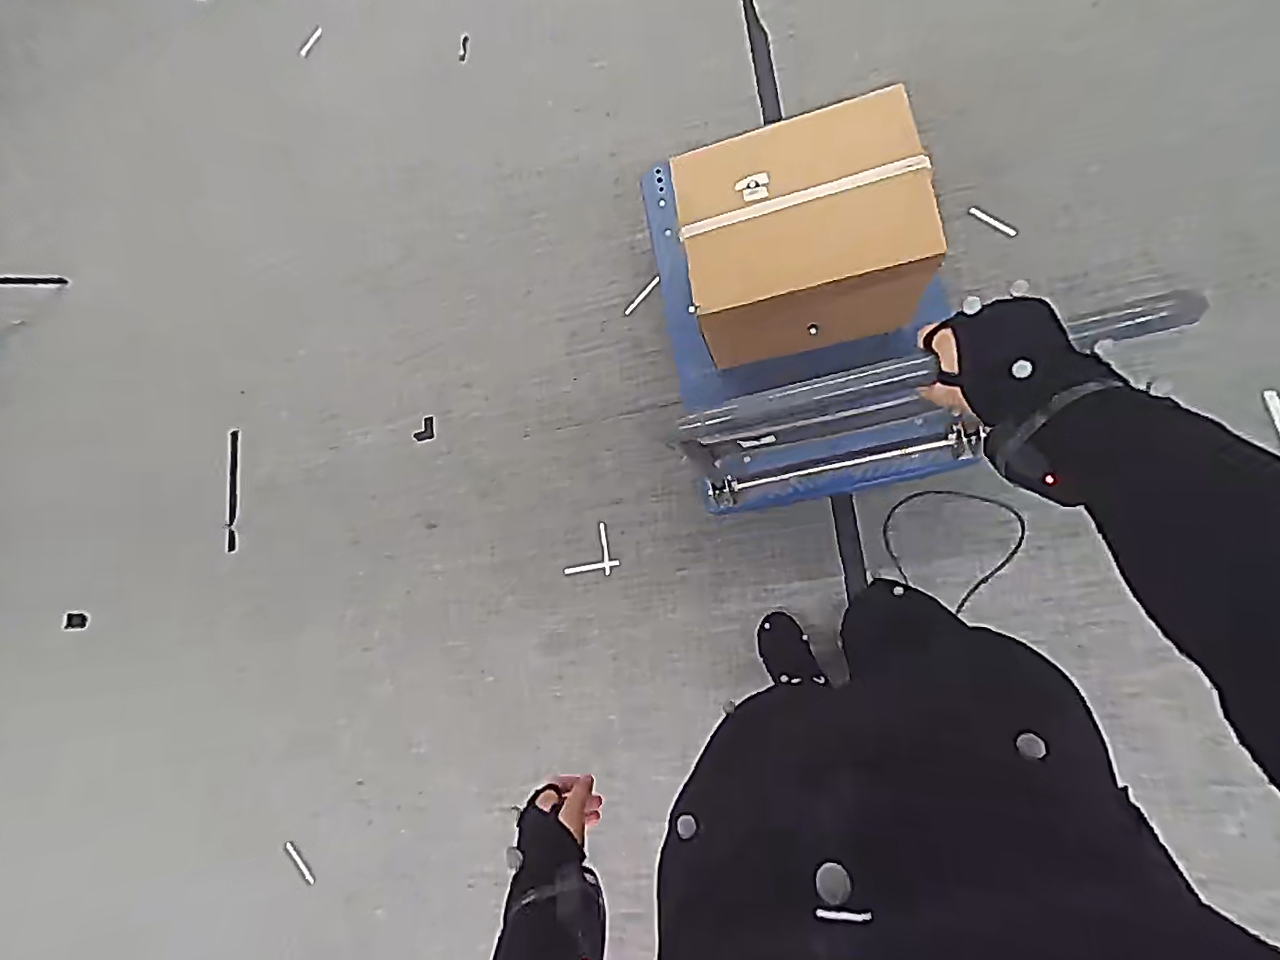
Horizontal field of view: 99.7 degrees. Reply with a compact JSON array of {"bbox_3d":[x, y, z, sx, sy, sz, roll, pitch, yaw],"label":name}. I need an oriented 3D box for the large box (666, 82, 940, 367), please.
[{"bbox_3d":[0.300,-0.454,1.057,0.408,0.320,0.320,-12,79,15],"label":"large box"}]
